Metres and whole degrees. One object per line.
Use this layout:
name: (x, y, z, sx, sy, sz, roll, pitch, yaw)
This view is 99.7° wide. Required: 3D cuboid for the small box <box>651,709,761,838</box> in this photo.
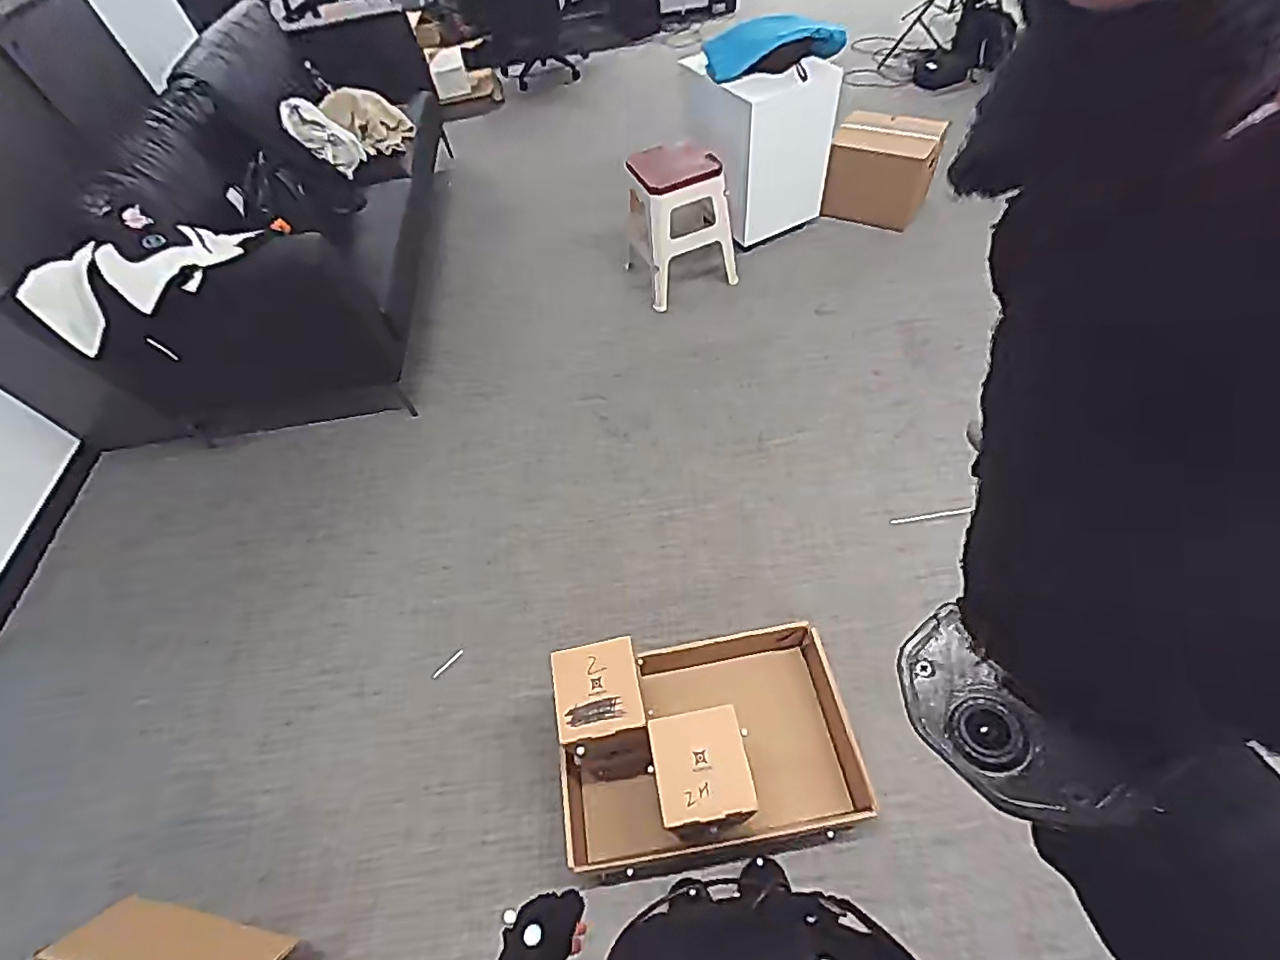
small box: (0.118, 0.553, 1.012, 0.168, 0.176, 0.179, -11, 55, 0)
